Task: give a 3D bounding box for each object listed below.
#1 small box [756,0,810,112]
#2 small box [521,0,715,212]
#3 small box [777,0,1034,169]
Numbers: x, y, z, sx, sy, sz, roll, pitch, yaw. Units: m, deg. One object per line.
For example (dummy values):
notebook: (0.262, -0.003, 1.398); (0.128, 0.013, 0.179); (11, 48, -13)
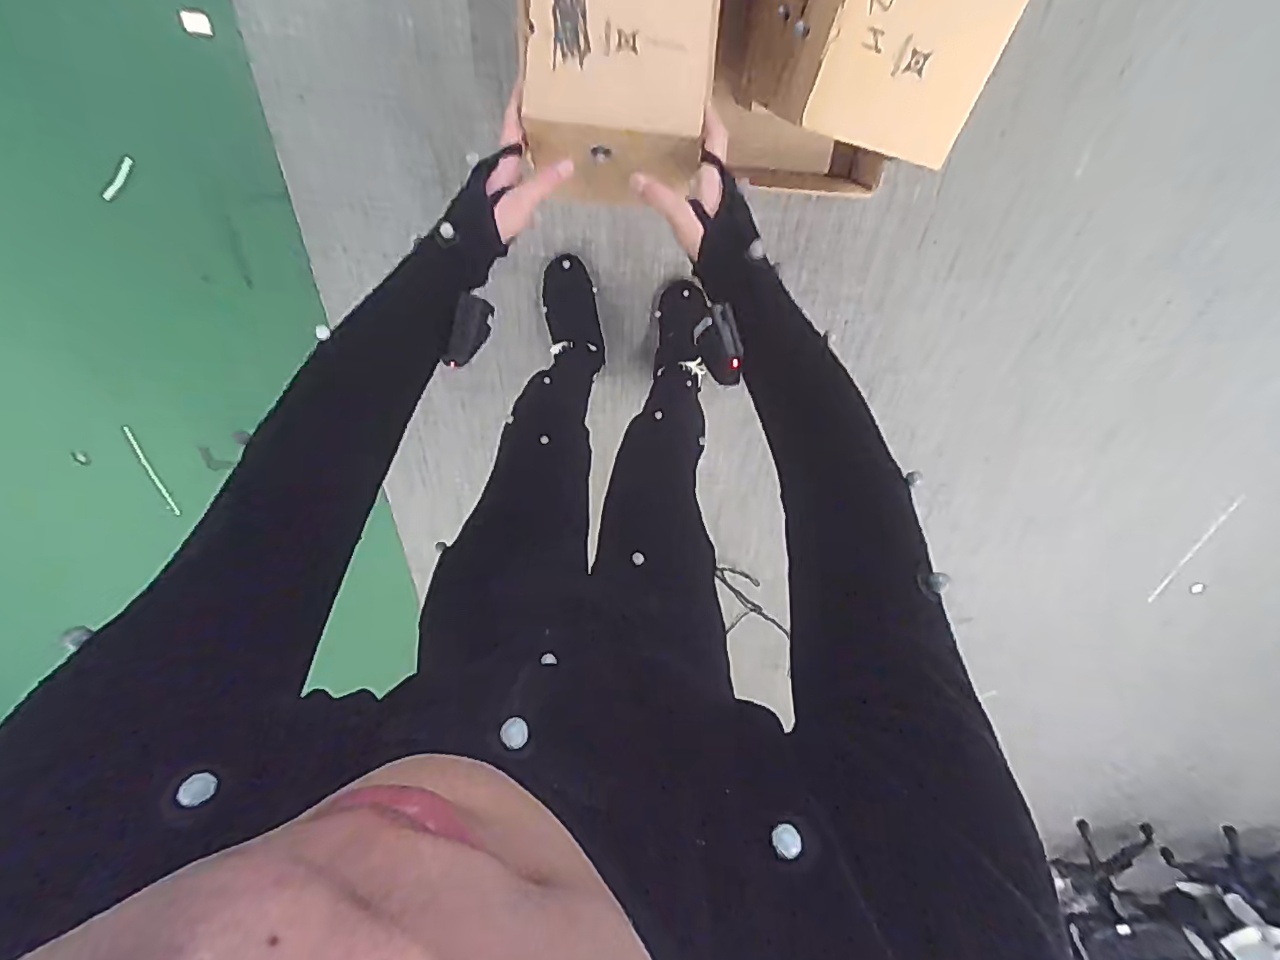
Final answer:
small box: (0.271, -0.589, 0.729); (0.179, 0.176, 0.168); (6, 128, -4)
small box: (-0.022, -0.414, 0.586); (0.179, 0.176, 0.168); (4, 92, -3)
small box: (0.276, -0.476, 0.607); (0.179, 0.176, 0.168); (12, 127, -8)
